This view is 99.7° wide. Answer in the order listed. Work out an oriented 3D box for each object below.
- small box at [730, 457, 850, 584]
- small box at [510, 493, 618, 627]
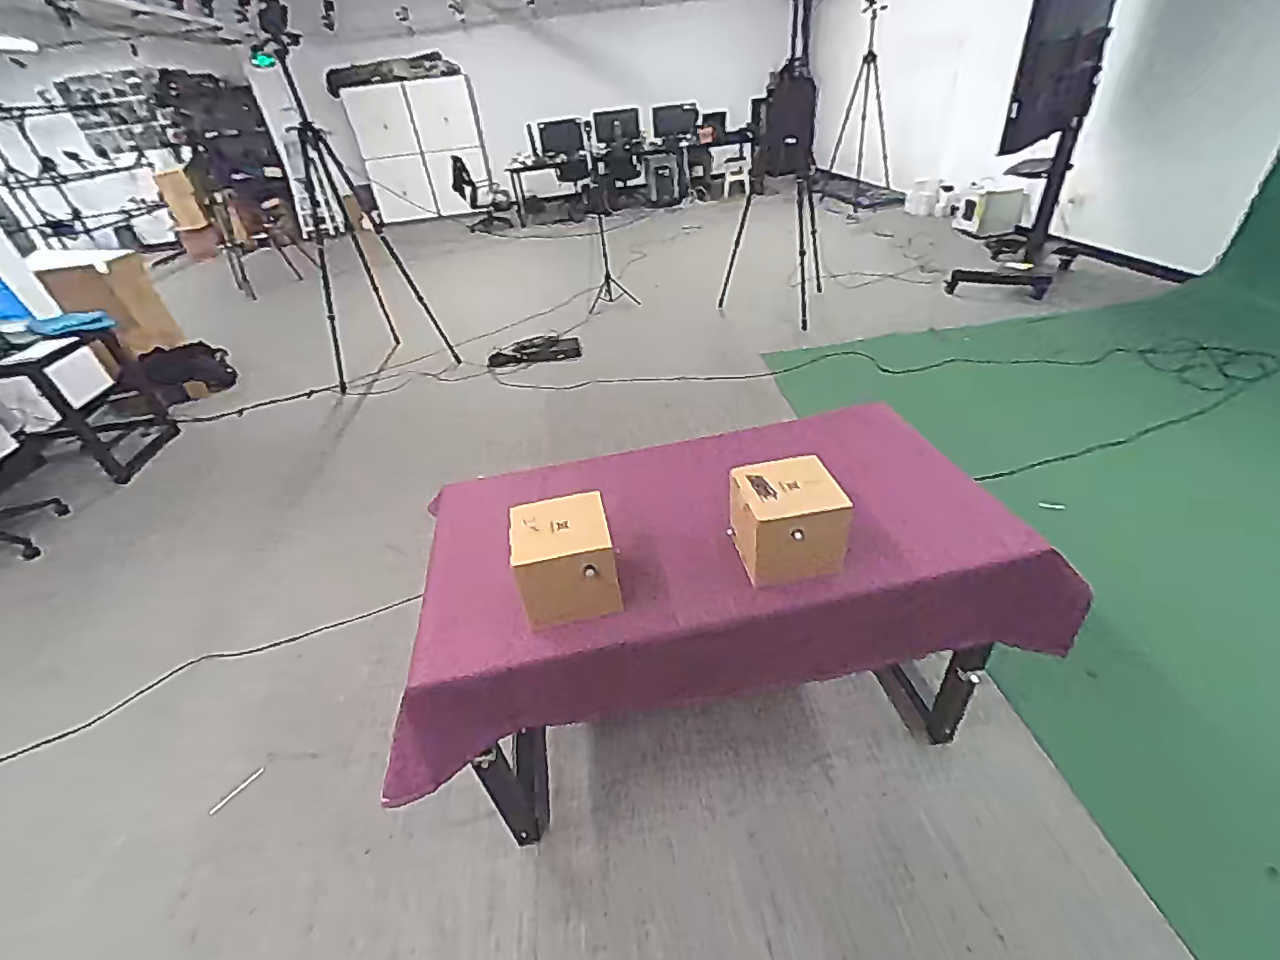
[{"bbox_3d":[0.279,0.080,1.042,0.179,0.176,0.168,-9,36,-3],"label":"small box"},{"bbox_3d":[-0.138,0.151,1.018,0.179,0.176,0.168,-10,35,-5],"label":"small box"}]
